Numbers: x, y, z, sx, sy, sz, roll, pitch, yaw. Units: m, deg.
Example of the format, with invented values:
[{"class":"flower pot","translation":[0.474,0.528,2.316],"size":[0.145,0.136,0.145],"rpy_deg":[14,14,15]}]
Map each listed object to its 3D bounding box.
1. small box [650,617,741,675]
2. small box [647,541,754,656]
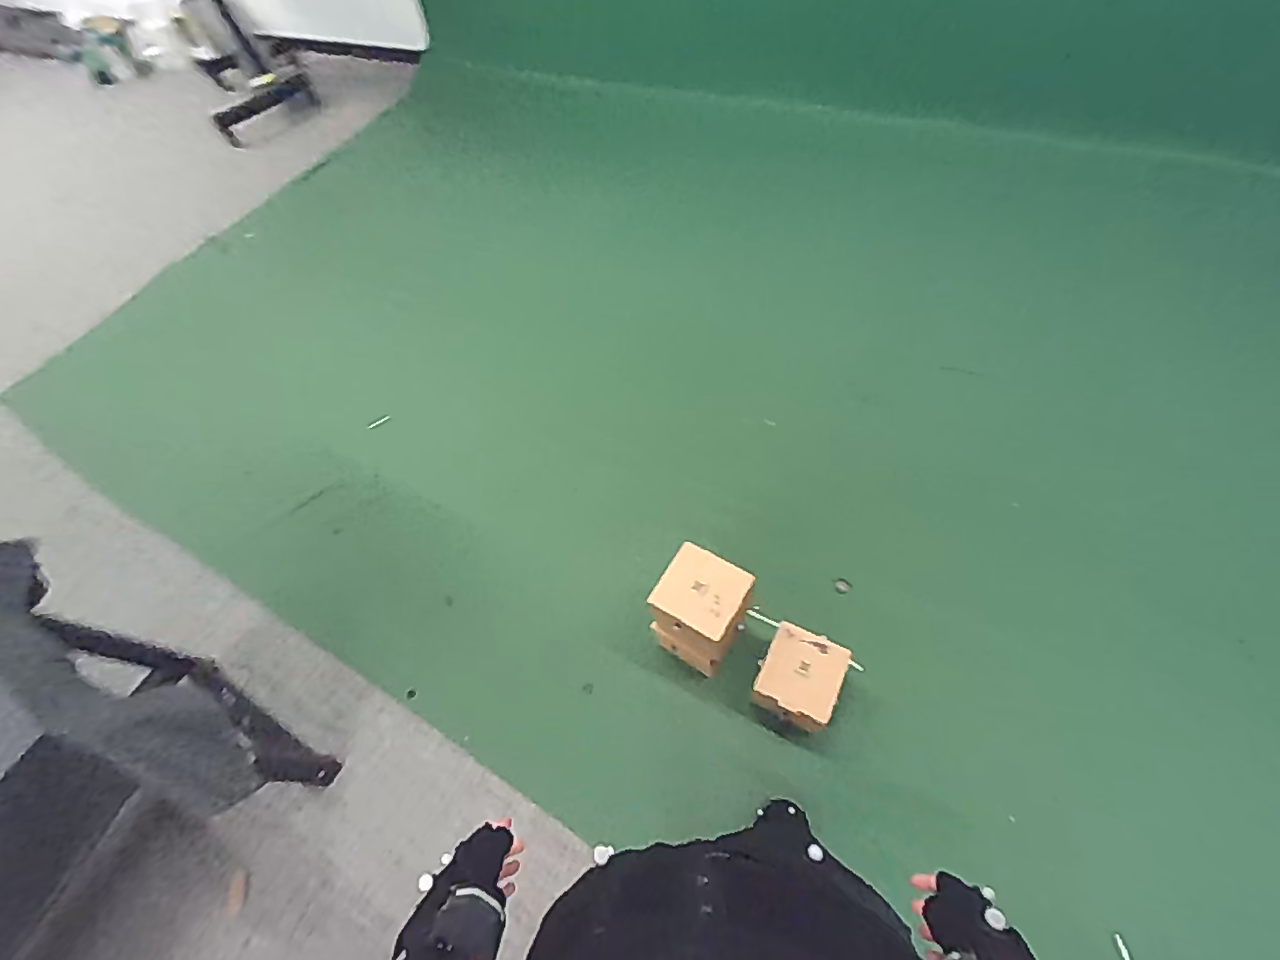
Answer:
[{"class":"small box","translation":[0.149,0.364,1.362],"size":[0.168,0.176,0.179],"rpy_deg":[28,66,24]},{"class":"small box","translation":[0.140,0.274,1.223],"size":[0.179,0.176,0.168],"rpy_deg":[27,66,23]}]
